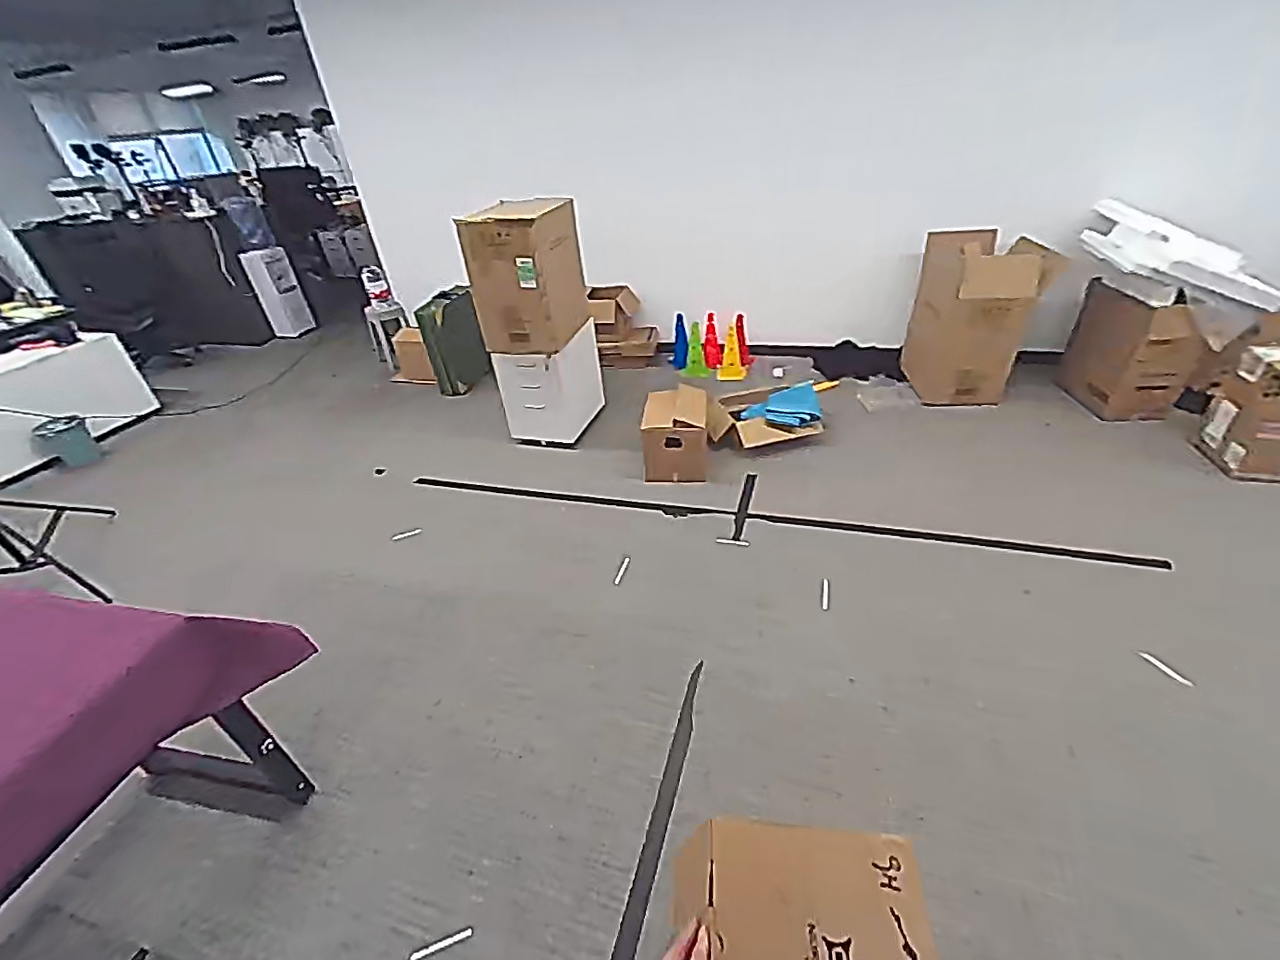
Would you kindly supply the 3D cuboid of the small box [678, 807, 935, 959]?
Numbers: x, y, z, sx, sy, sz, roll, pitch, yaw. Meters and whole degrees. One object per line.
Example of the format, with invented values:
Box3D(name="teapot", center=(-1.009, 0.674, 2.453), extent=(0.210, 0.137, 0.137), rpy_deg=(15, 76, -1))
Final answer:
Box3D(name="small box", center=(0.126, 0.401, 0.459), extent=(0.179, 0.176, 0.168), rpy_deg=(7, 45, -2))
